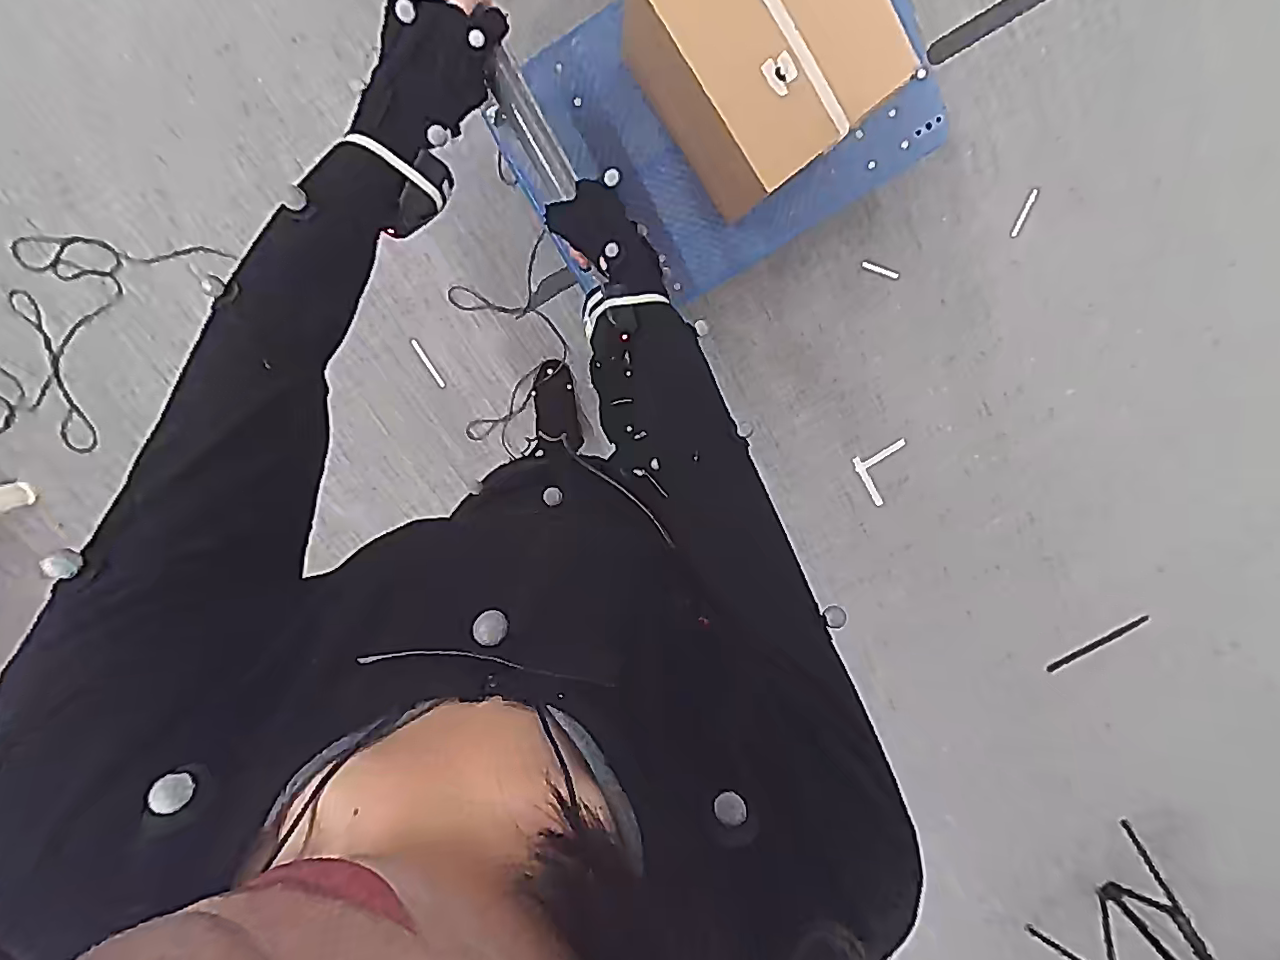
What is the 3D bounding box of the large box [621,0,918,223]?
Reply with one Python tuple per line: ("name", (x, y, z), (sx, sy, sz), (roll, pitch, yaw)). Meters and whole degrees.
("large box", (0.210, -0.771, 1.006), (0.320, 0.320, 0.408), (-37, 105, 7))
